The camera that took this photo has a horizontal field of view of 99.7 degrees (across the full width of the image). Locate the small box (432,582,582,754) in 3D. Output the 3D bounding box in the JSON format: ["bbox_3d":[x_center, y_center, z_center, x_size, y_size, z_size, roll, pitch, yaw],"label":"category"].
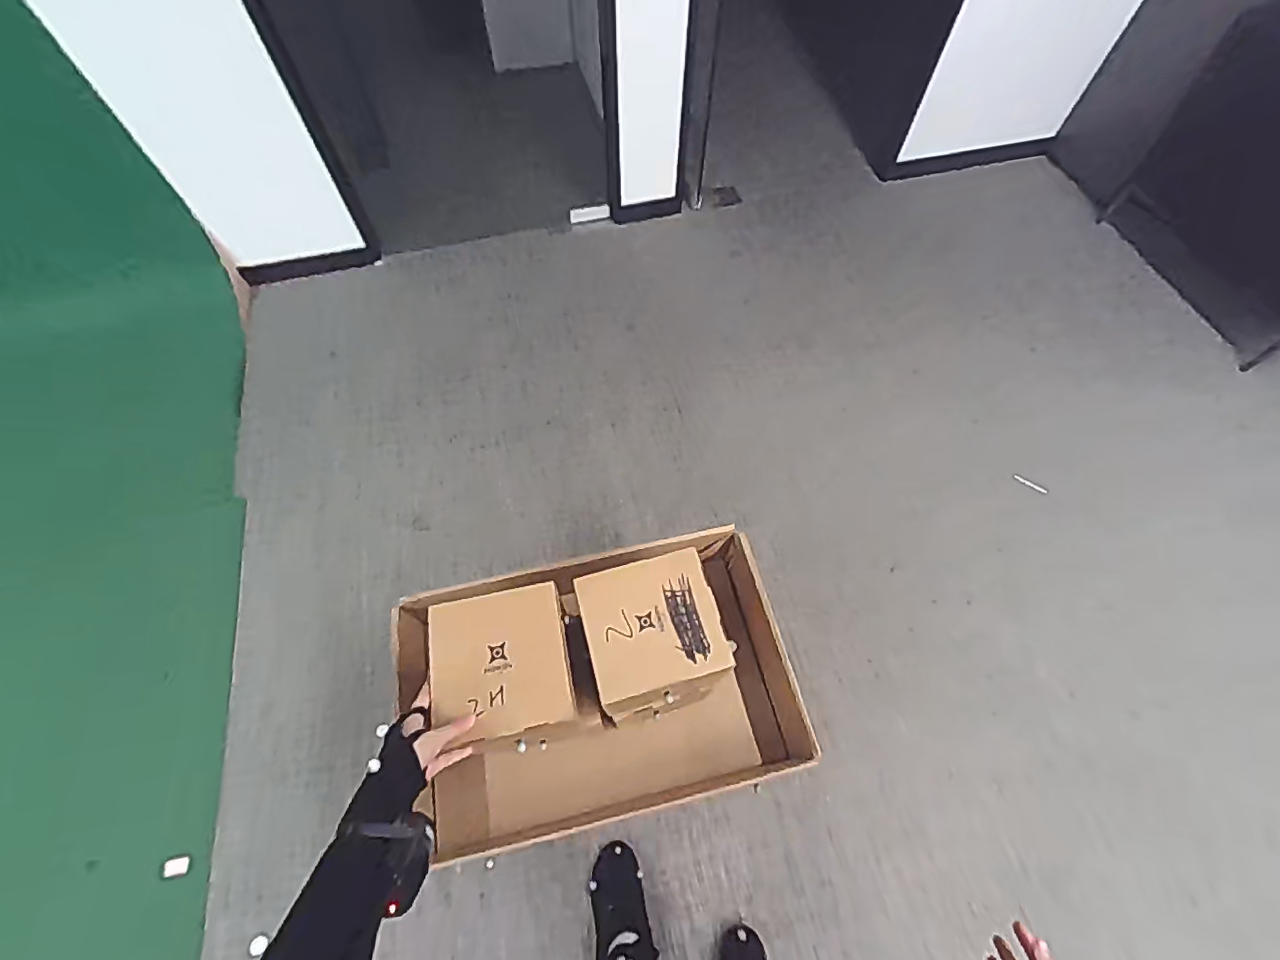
[{"bbox_3d":[-0.176,0.261,0.741,0.168,0.176,0.179,-11,62,-6],"label":"small box"}]
